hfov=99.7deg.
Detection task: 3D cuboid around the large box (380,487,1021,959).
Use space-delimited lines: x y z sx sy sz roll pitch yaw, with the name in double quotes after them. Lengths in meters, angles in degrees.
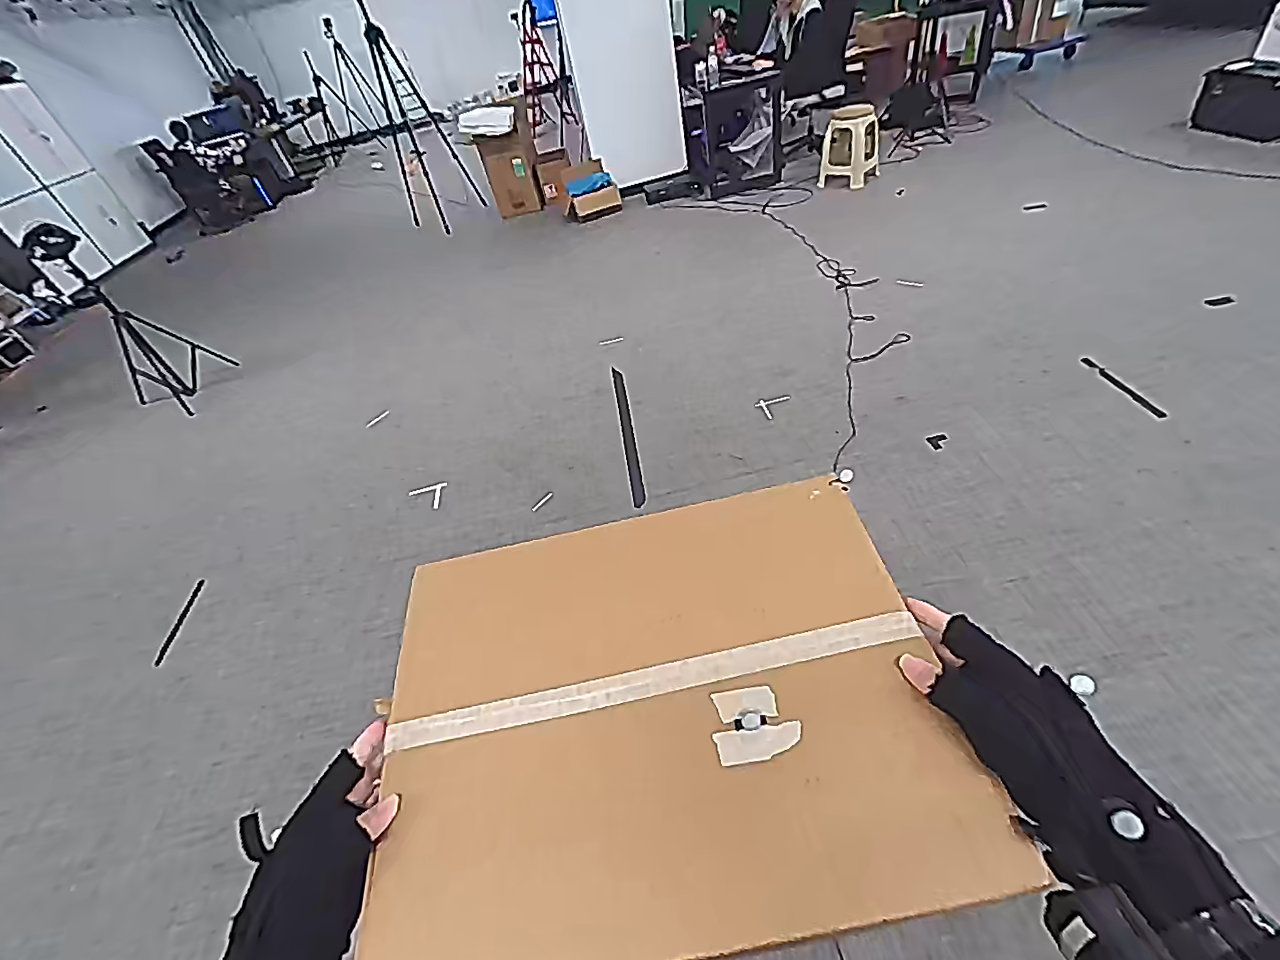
0.034 0.257 0.528 0.408 0.320 0.320 -12 49 1 "large box"
